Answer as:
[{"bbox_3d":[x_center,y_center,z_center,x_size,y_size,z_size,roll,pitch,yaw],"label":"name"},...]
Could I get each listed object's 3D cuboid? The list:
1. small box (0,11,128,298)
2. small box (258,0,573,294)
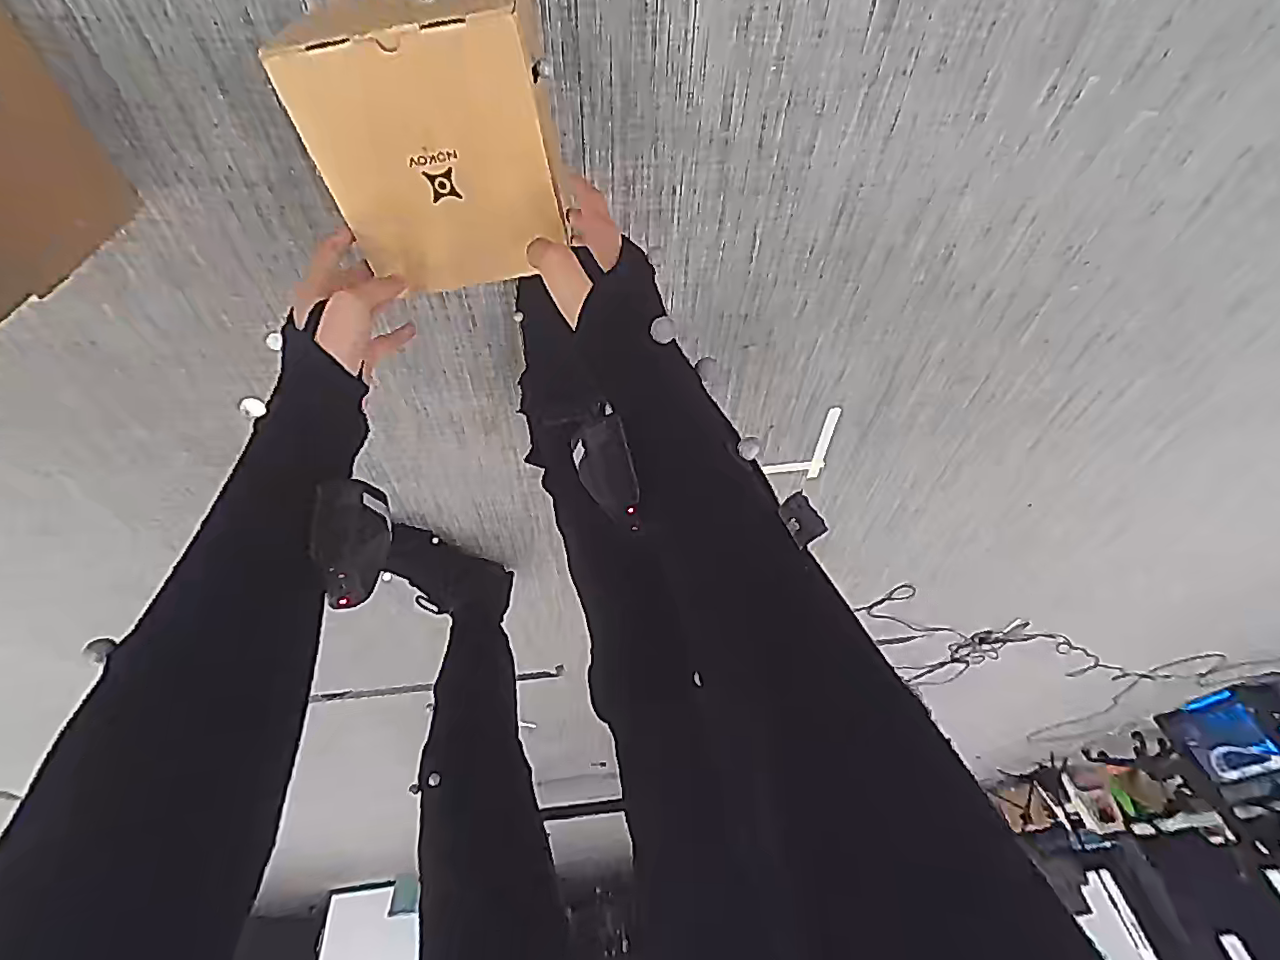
[{"bbox_3d":[-0.558,-0.255,0.401,0.168,0.176,0.179,-3,140,-5],"label":"small box"},{"bbox_3d":[-0.152,-0.284,0.441,0.168,0.176,0.179,-10,140,1],"label":"small box"}]
